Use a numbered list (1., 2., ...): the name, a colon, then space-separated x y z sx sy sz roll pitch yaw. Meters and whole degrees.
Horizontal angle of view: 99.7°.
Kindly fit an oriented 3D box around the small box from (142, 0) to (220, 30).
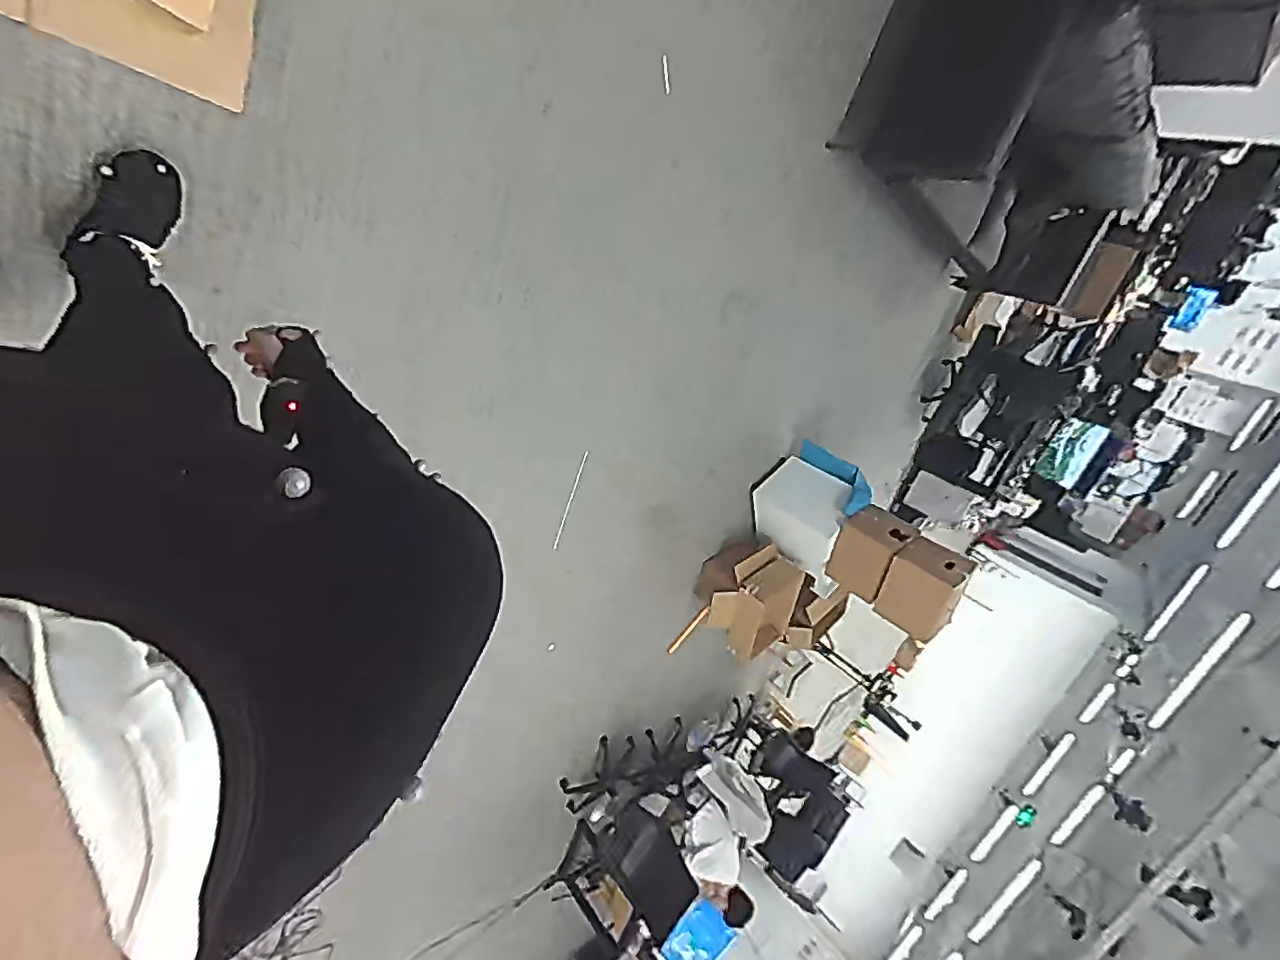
1. small box: -0.806 -0.890 0.890 0.179 0.176 0.168 10 111 -49
